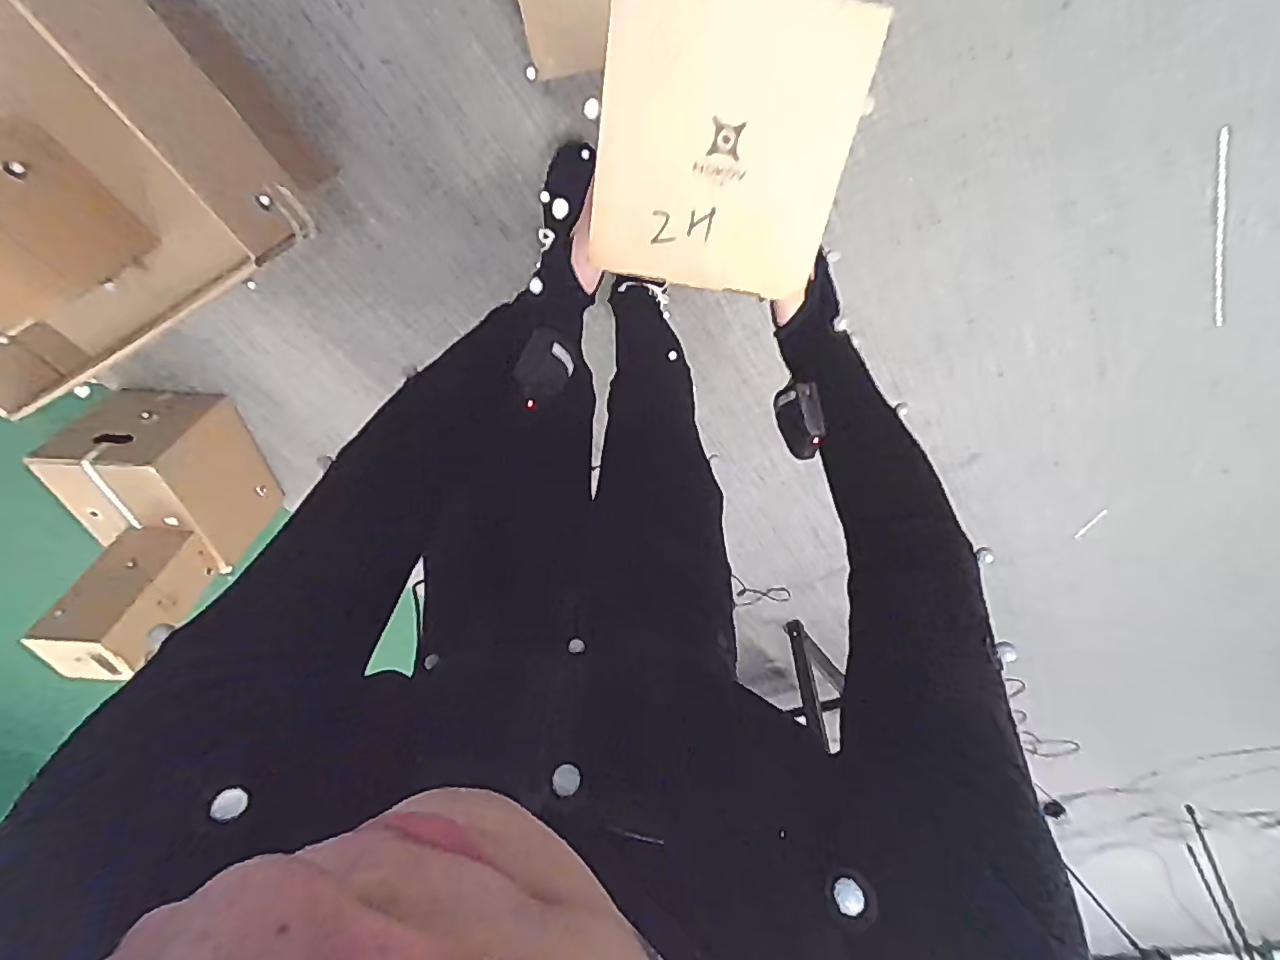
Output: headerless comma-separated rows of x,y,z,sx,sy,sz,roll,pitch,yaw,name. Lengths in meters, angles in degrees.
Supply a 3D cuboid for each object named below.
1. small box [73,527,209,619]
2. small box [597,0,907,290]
-1.268,0.238,1.398,0.179,0.176,0.168,5,131,-3,small box
0.065,-0.270,0.420,0.168,0.176,0.179,9,124,-3,small box
